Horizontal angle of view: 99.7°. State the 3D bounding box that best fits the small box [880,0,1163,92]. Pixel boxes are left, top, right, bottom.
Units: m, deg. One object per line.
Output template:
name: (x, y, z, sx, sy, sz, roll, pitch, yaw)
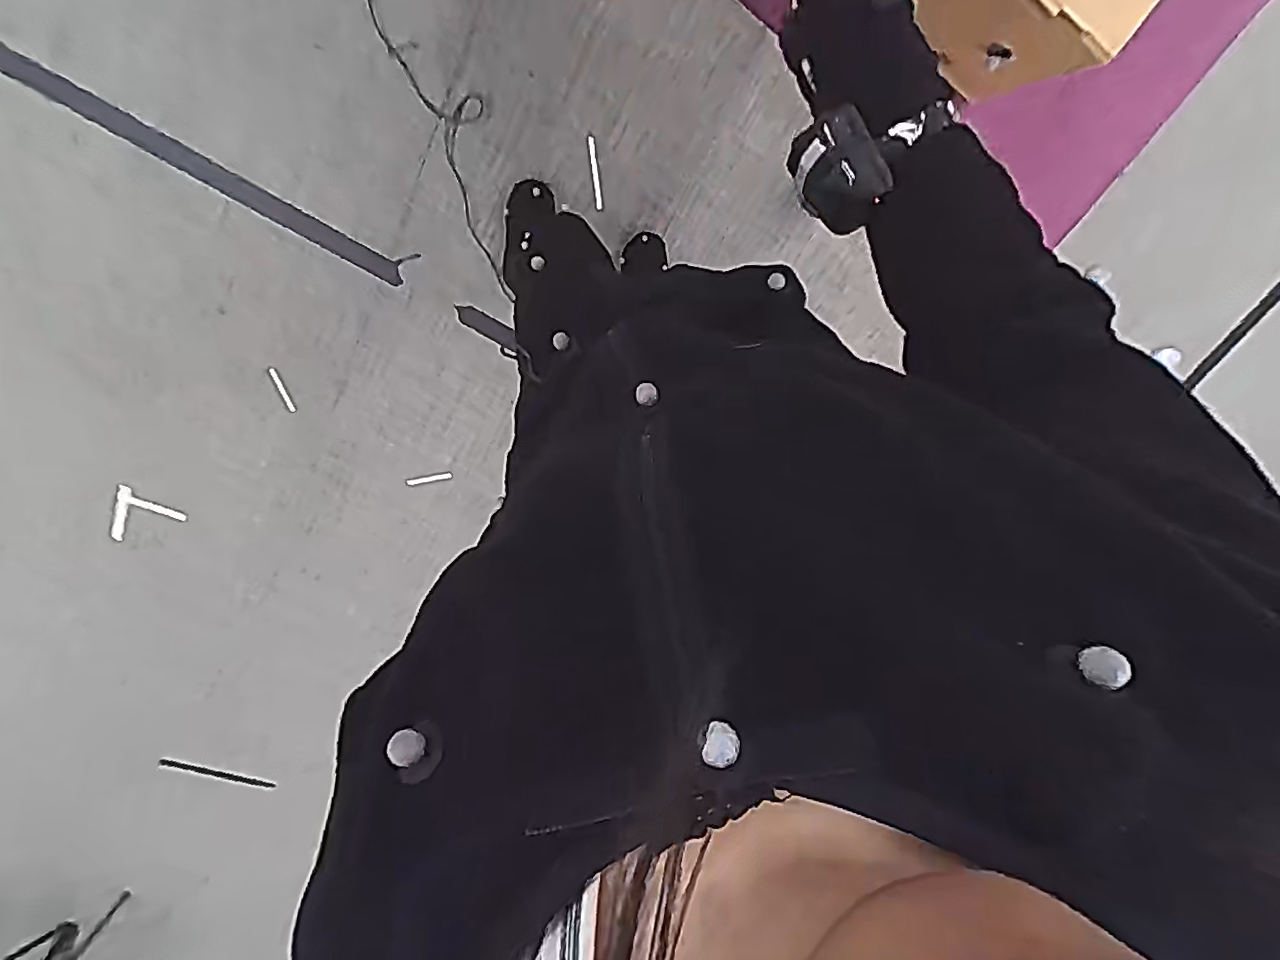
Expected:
small box: (0.315, -0.444, 0.417, 0.168, 0.176, 0.179, 25, 111, -18)
